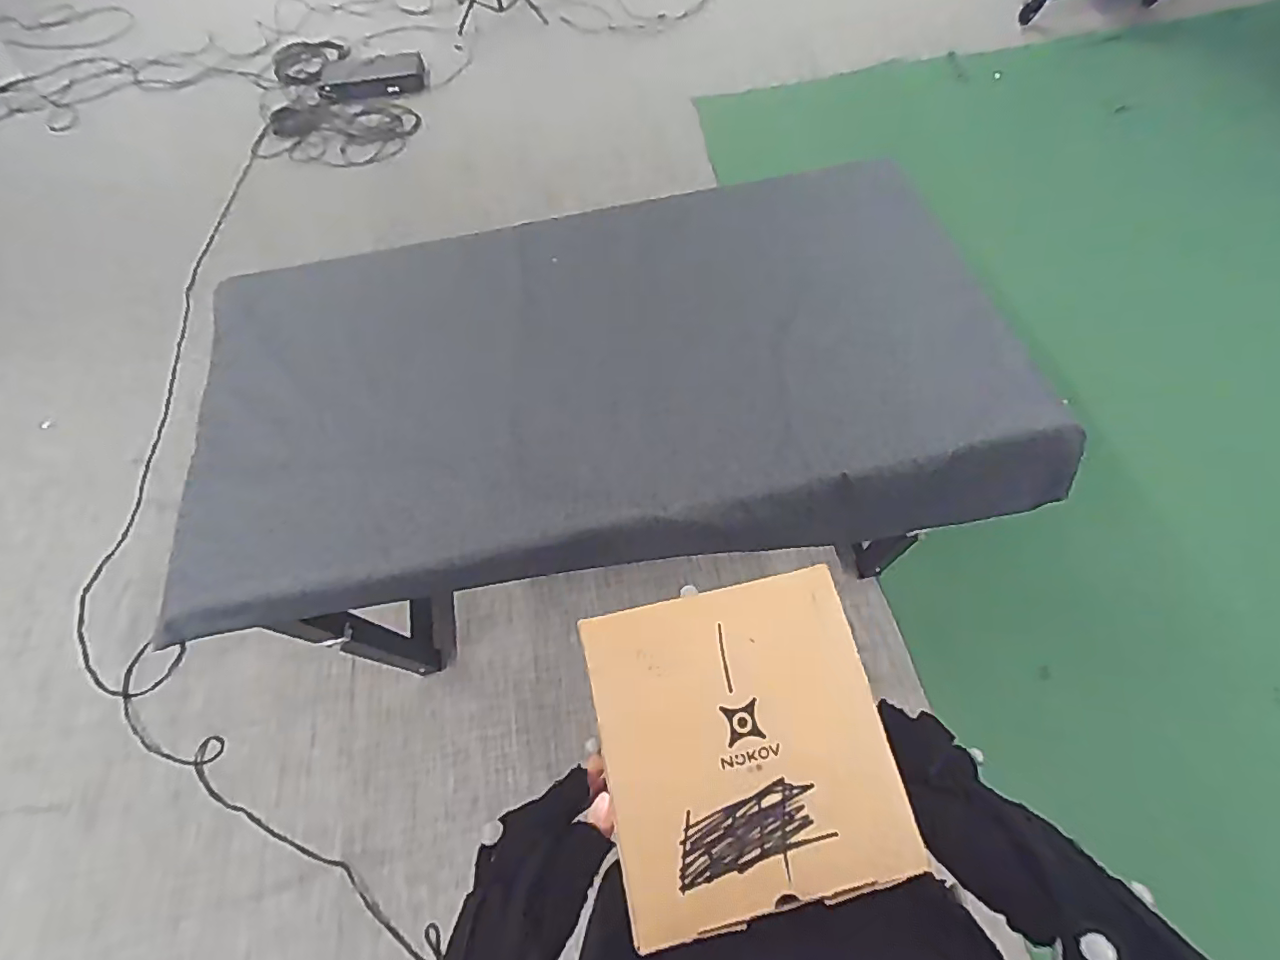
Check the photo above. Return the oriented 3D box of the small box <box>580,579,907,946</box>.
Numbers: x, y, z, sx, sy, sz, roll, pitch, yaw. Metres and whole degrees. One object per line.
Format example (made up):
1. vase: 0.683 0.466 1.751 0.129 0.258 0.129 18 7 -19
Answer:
1. small box: 0.055 0.184 0.400 0.168 0.176 0.179 -10 71 -6
